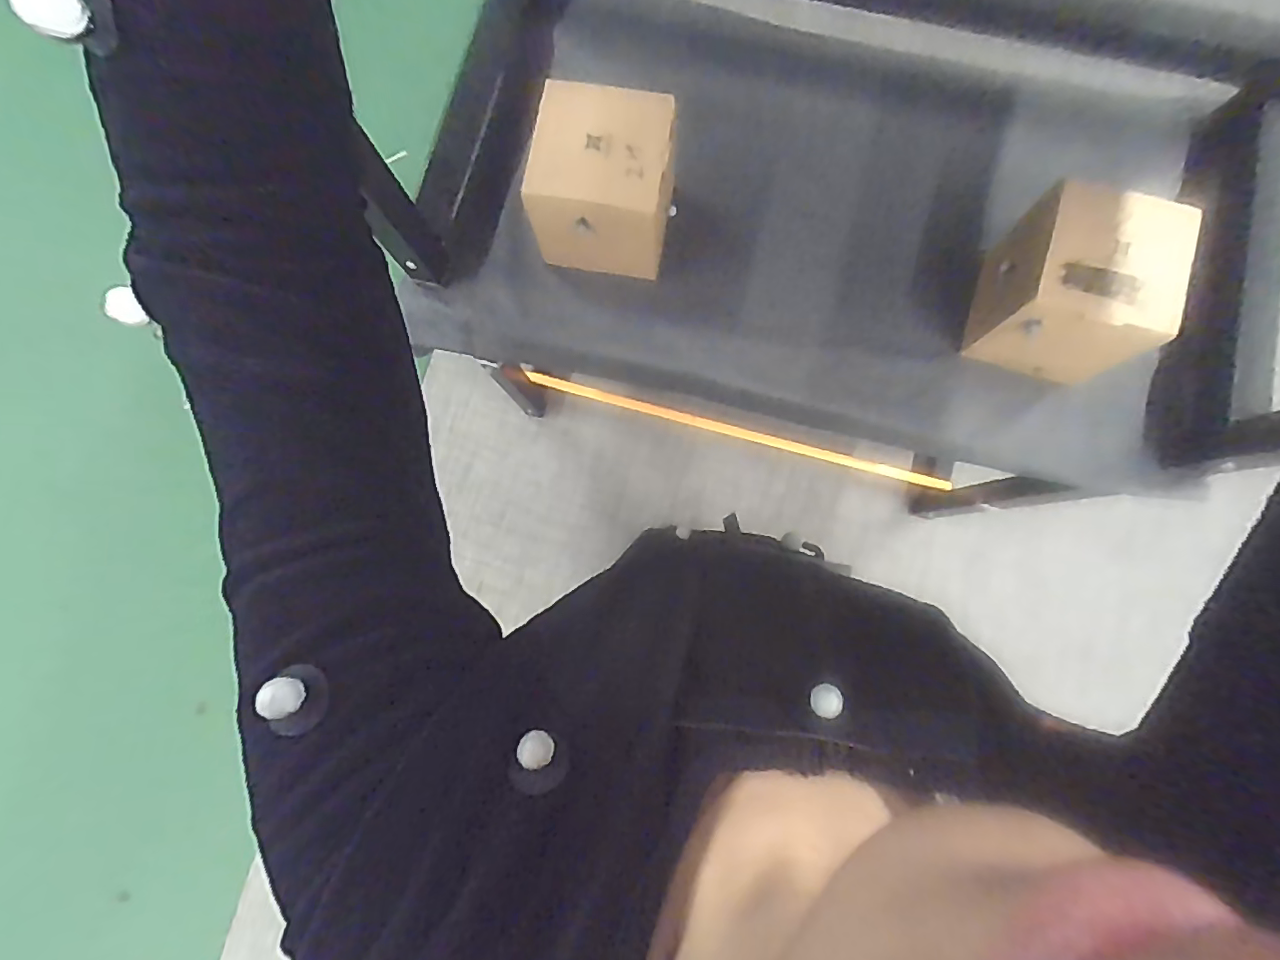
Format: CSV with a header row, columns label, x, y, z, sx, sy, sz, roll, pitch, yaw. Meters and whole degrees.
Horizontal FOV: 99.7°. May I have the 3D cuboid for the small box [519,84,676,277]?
label,x,y,z,sx,sy,sz,roll,pitch,yaw
small box,-0.052,-0.412,0.769,0.179,0.176,0.168,10,83,3
